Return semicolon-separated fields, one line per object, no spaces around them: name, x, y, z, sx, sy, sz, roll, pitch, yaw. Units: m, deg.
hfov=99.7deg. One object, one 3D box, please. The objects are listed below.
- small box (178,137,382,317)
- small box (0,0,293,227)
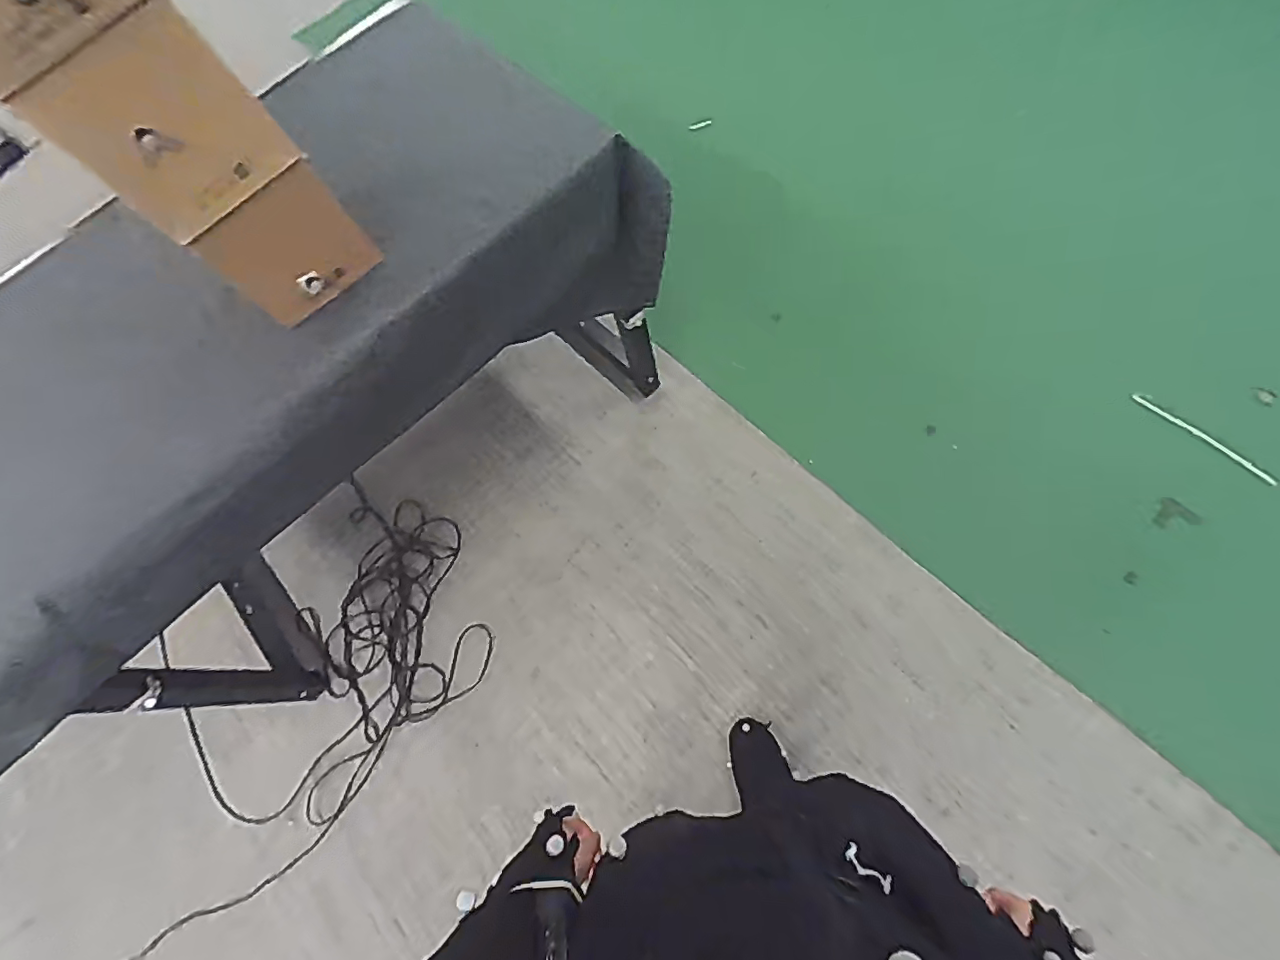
small box;-0.487;-0.352;0.712;0.168;0.176;0.179;-43;70;-6
small box;-0.509;-0.398;0.557;0.168;0.176;0.179;-44;68;-7
